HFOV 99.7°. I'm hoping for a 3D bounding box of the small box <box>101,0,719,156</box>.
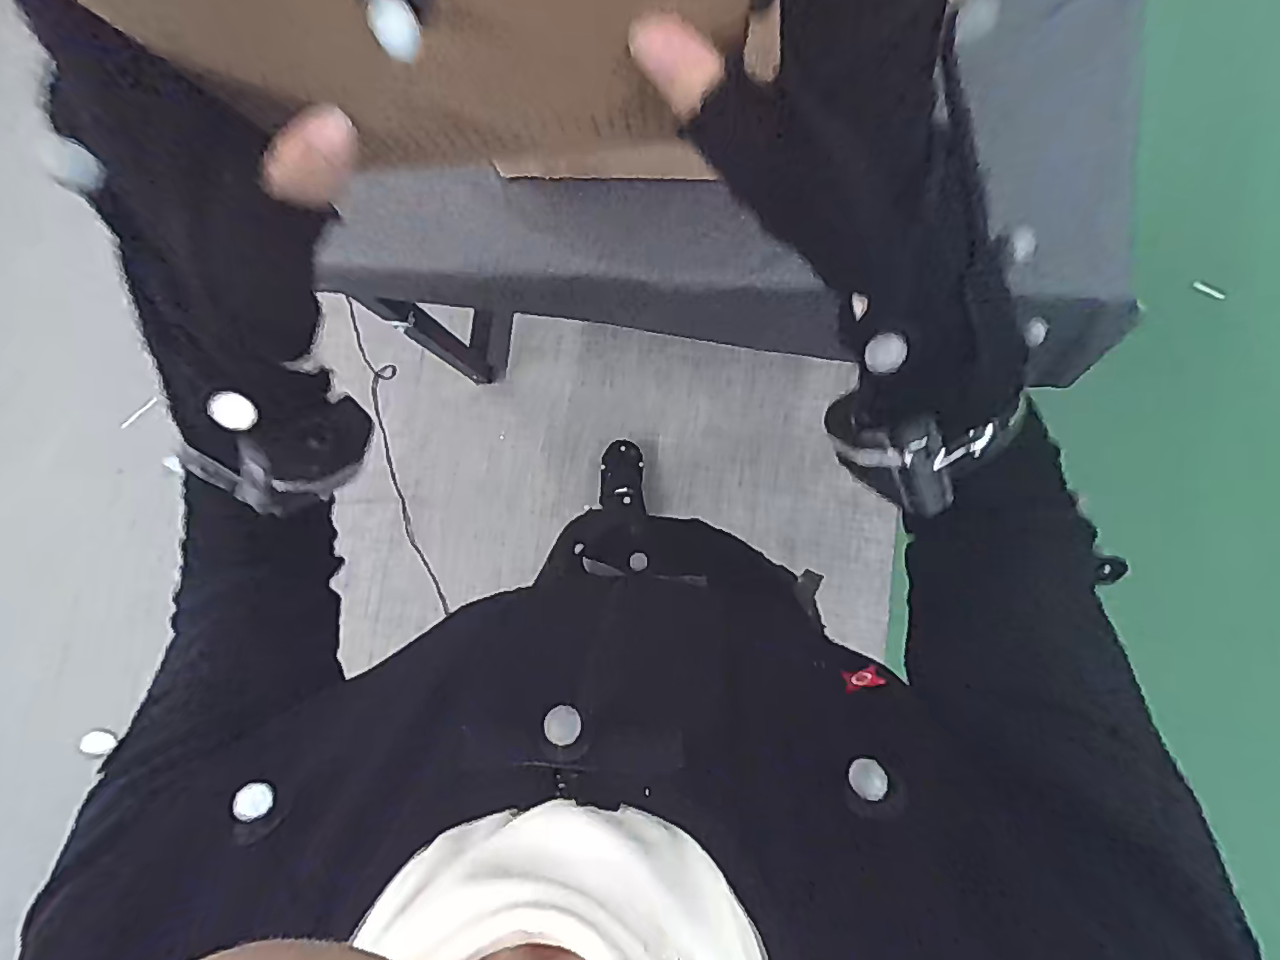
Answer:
[{"bbox_3d":[-0.065,-0.213,0.138,0.179,0.176,0.168,-6,97,2],"label":"small box"}]
